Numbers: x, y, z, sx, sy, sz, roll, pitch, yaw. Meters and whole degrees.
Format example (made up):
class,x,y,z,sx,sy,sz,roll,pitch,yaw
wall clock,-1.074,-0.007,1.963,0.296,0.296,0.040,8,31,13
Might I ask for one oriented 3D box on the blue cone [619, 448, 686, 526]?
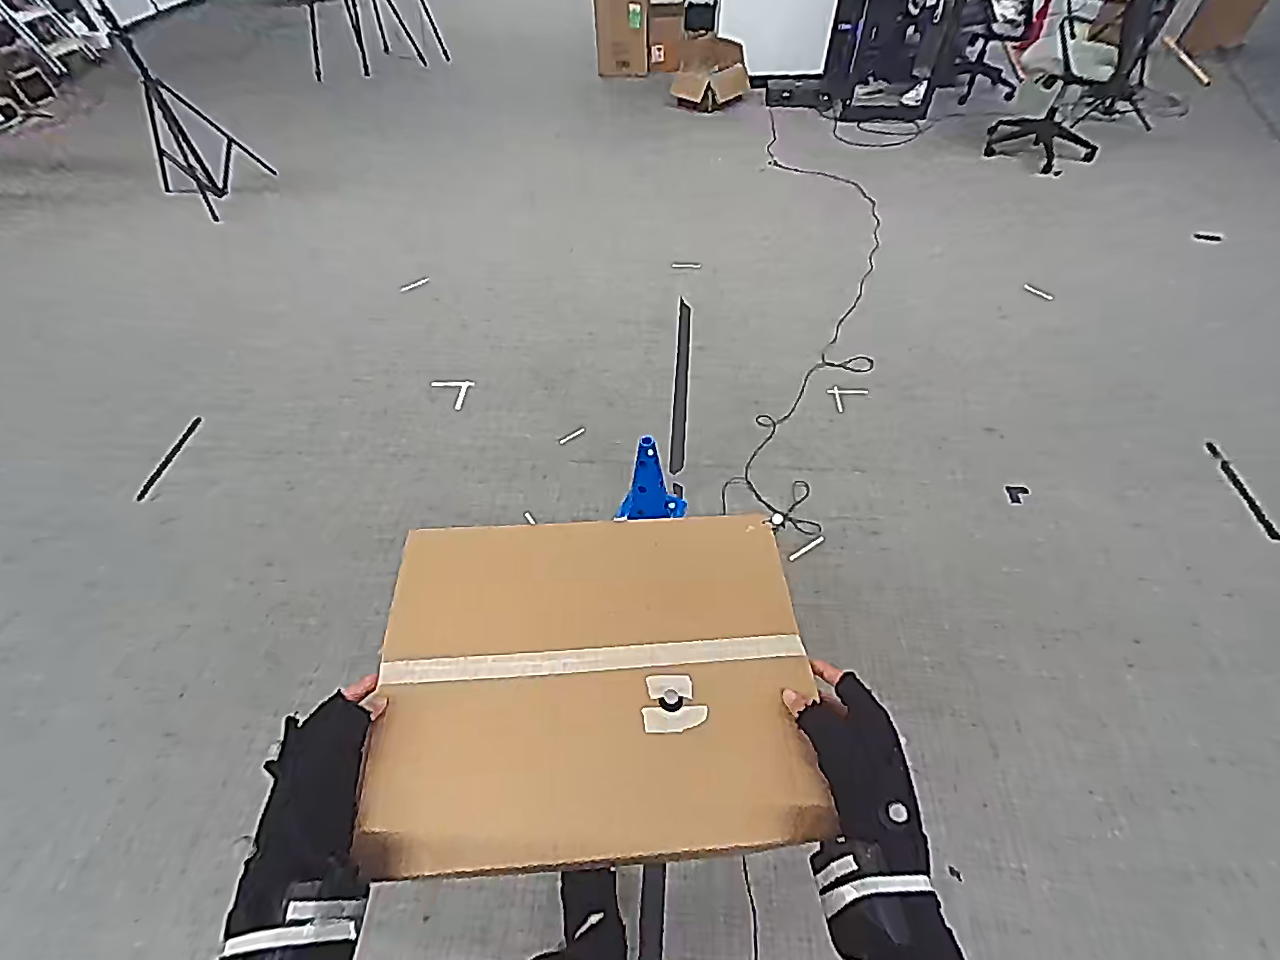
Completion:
class,x,y,z,sx,sy,sz,roll,pitch,yaw
blue cone,0.033,0.032,1.635,0.193,0.380,0.192,20,55,18

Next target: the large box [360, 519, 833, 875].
class,x,y,z,sx,sy,sz,roll,pitch,yaw
large box,-0.048,0.266,0.654,0.408,0.320,0.320,-2,54,-4
